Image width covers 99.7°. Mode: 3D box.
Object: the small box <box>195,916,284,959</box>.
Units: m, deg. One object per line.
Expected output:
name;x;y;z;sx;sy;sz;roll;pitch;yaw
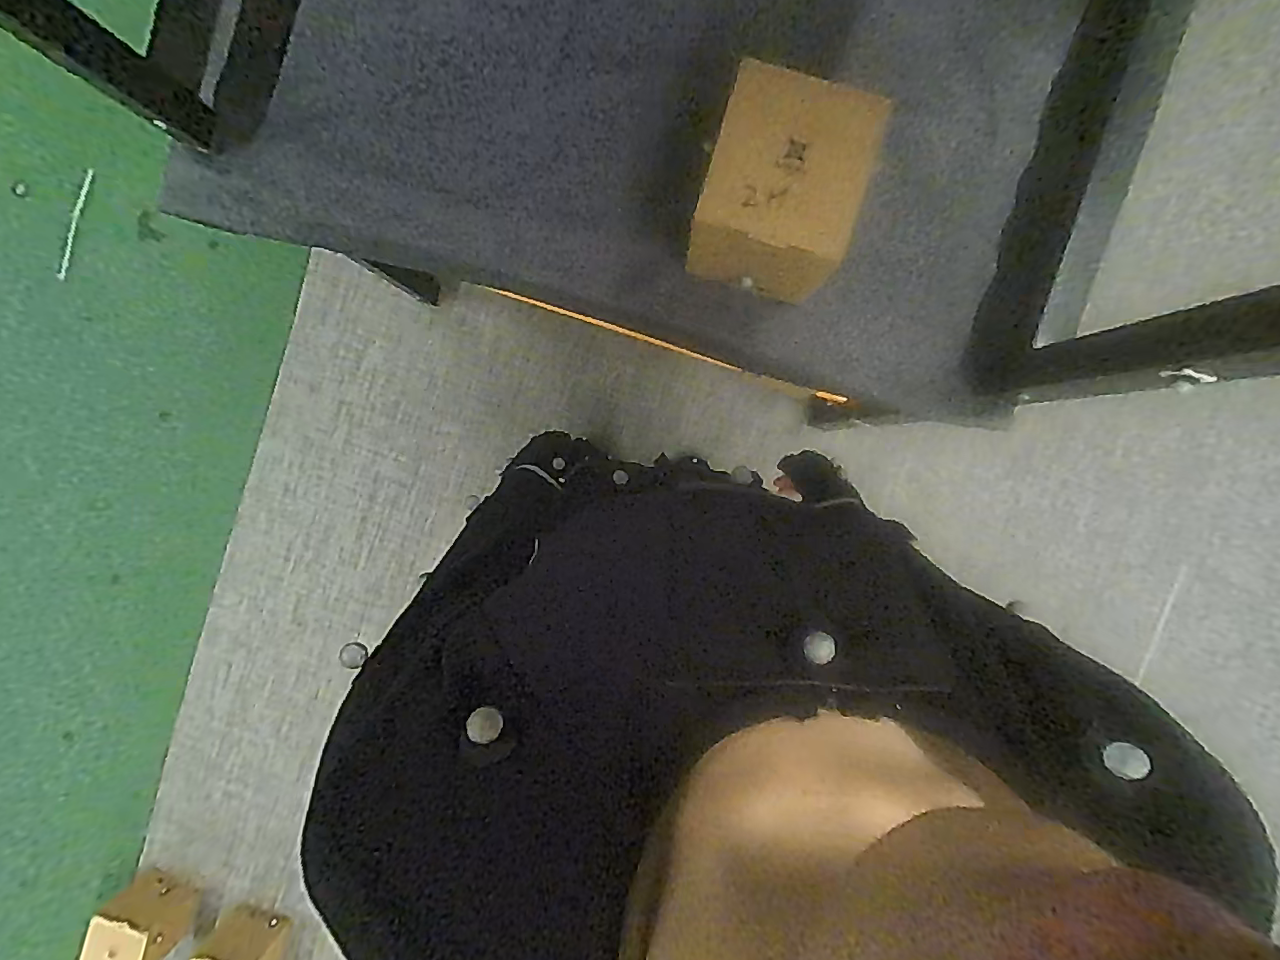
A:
small box;-1.127;1.365;1.492;0.168;0.176;0.179;15;93;2

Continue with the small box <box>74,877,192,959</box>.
small box;-1.402;1.264;1.499;0.168;0.176;0.179;19;93;0

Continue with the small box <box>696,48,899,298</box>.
small box;0.169;-0.345;0.642;0.168;0.176;0.179;18;92;2
